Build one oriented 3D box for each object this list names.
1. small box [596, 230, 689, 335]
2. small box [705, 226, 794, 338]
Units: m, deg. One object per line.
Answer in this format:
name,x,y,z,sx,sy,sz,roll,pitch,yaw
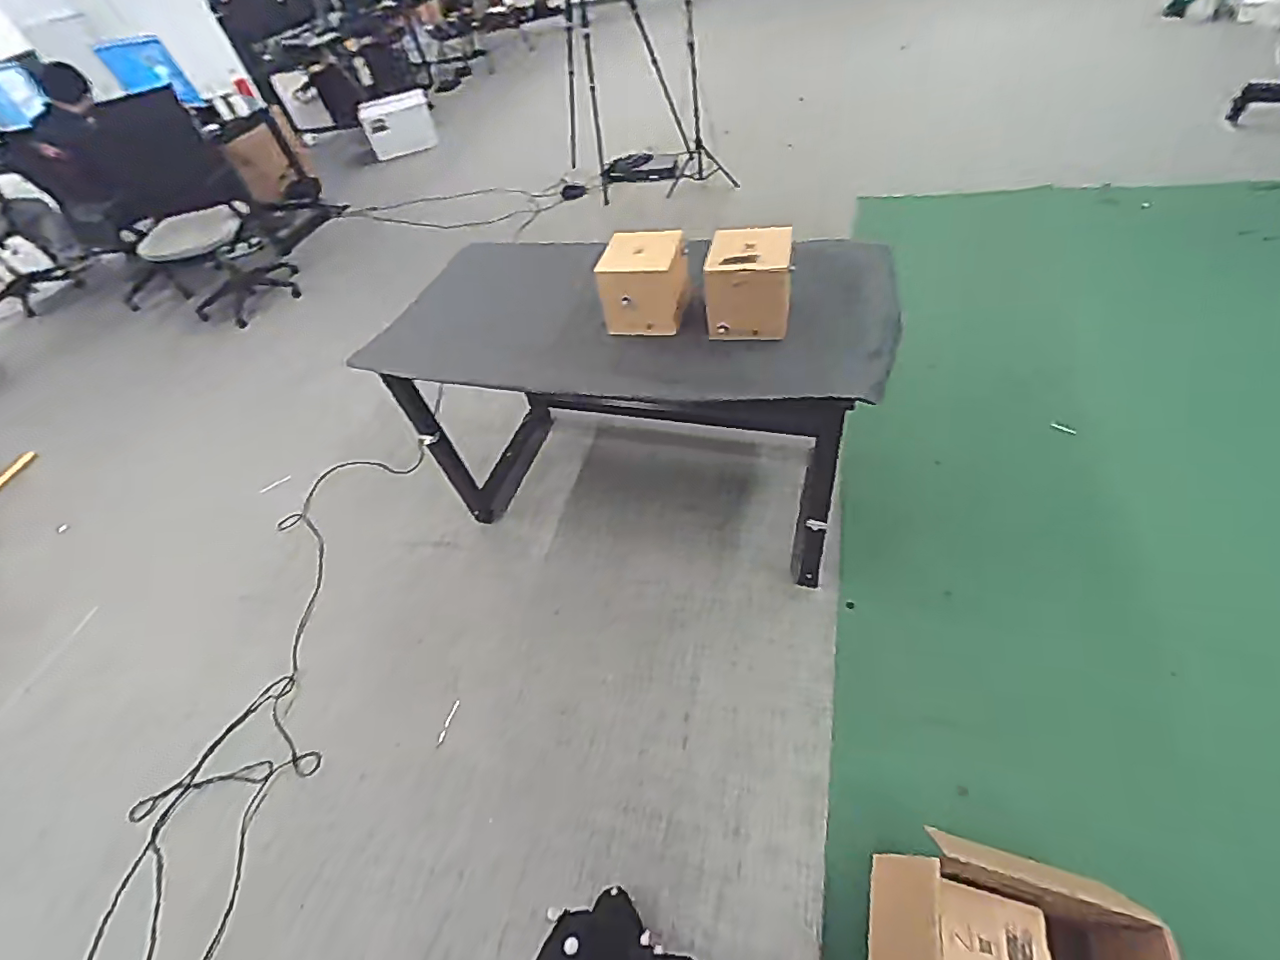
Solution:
small box,0.015,-0.452,1.250,0.168,0.176,0.179,5,51,16
small box,0.242,-0.425,1.176,0.168,0.176,0.179,5,50,16
